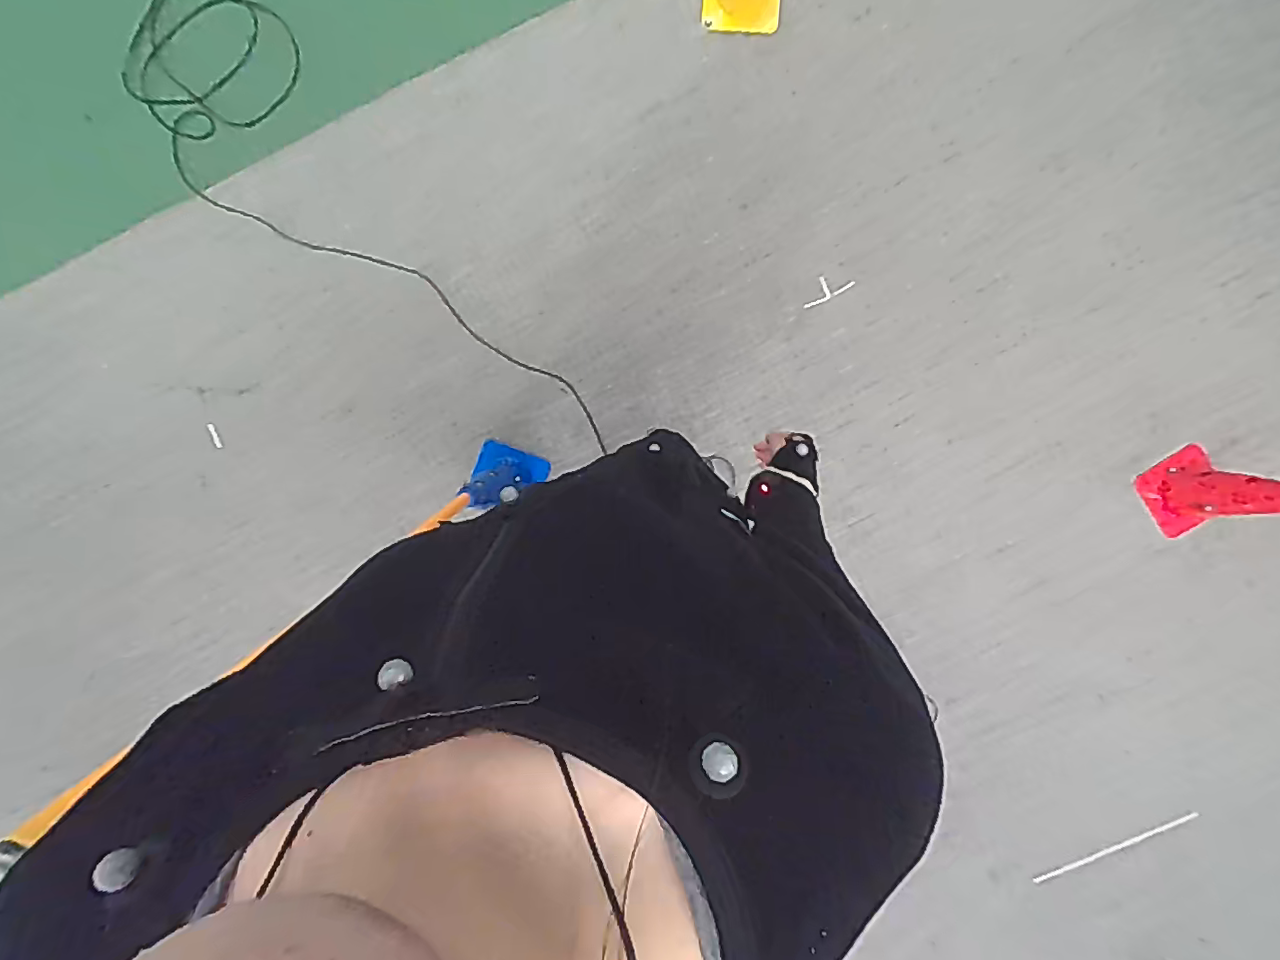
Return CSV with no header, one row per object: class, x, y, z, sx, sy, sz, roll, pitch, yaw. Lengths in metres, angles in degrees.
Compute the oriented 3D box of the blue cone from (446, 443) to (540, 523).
blue cone,-0.379,0.028,1.313,0.192,0.380,0.193,20,96,-2
